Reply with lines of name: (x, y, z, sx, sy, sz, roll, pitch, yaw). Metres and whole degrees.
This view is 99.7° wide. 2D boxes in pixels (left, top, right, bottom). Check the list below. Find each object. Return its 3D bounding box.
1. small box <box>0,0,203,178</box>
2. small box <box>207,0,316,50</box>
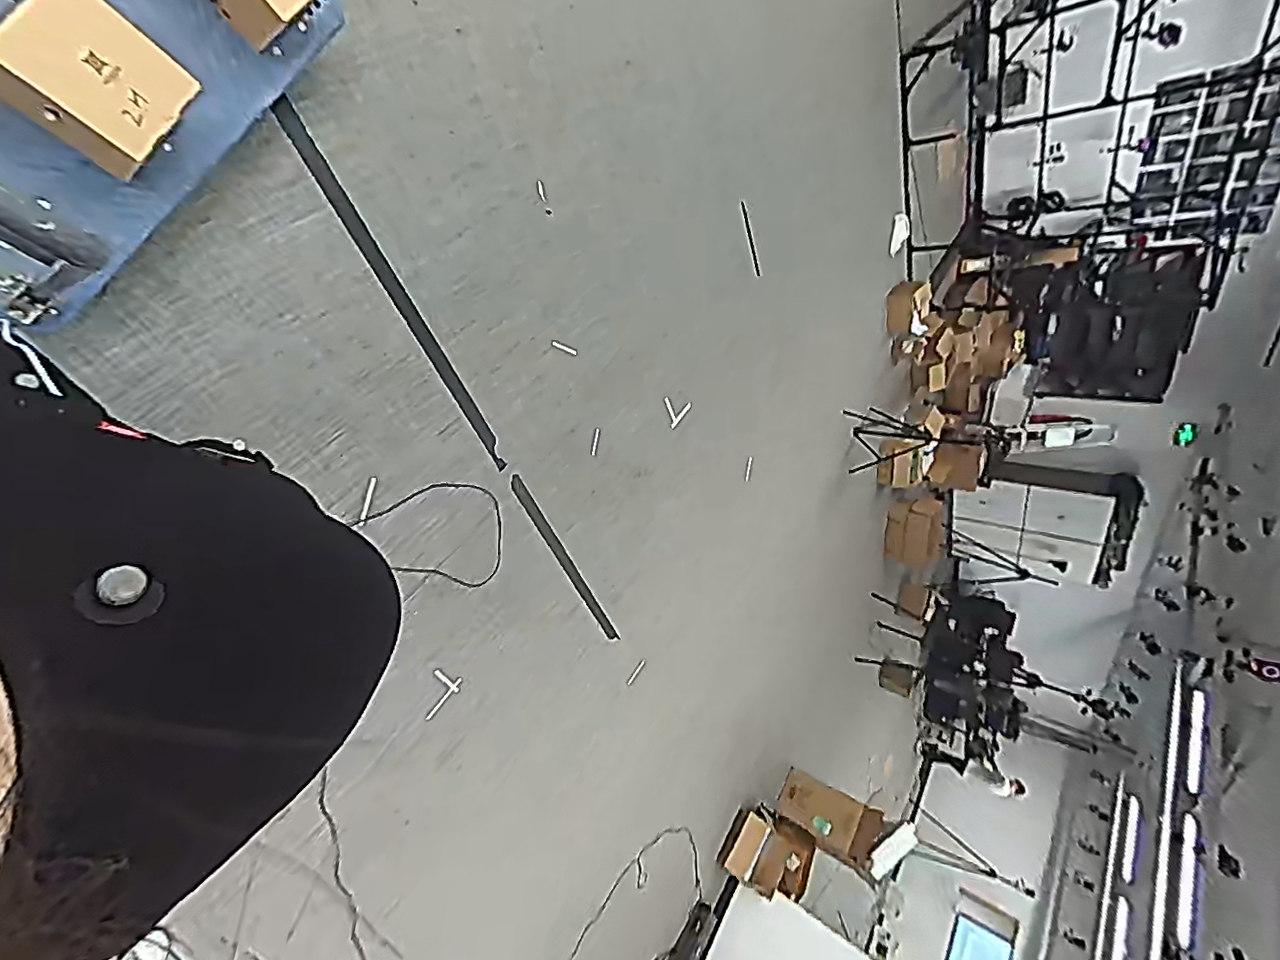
small box: (-0.830, -0.600, 0.826, 0.179, 0.176, 0.168, 39, 70, -48)
small box: (-0.666, -0.905, 0.940, 0.168, 0.176, 0.179, 46, 66, -46)
